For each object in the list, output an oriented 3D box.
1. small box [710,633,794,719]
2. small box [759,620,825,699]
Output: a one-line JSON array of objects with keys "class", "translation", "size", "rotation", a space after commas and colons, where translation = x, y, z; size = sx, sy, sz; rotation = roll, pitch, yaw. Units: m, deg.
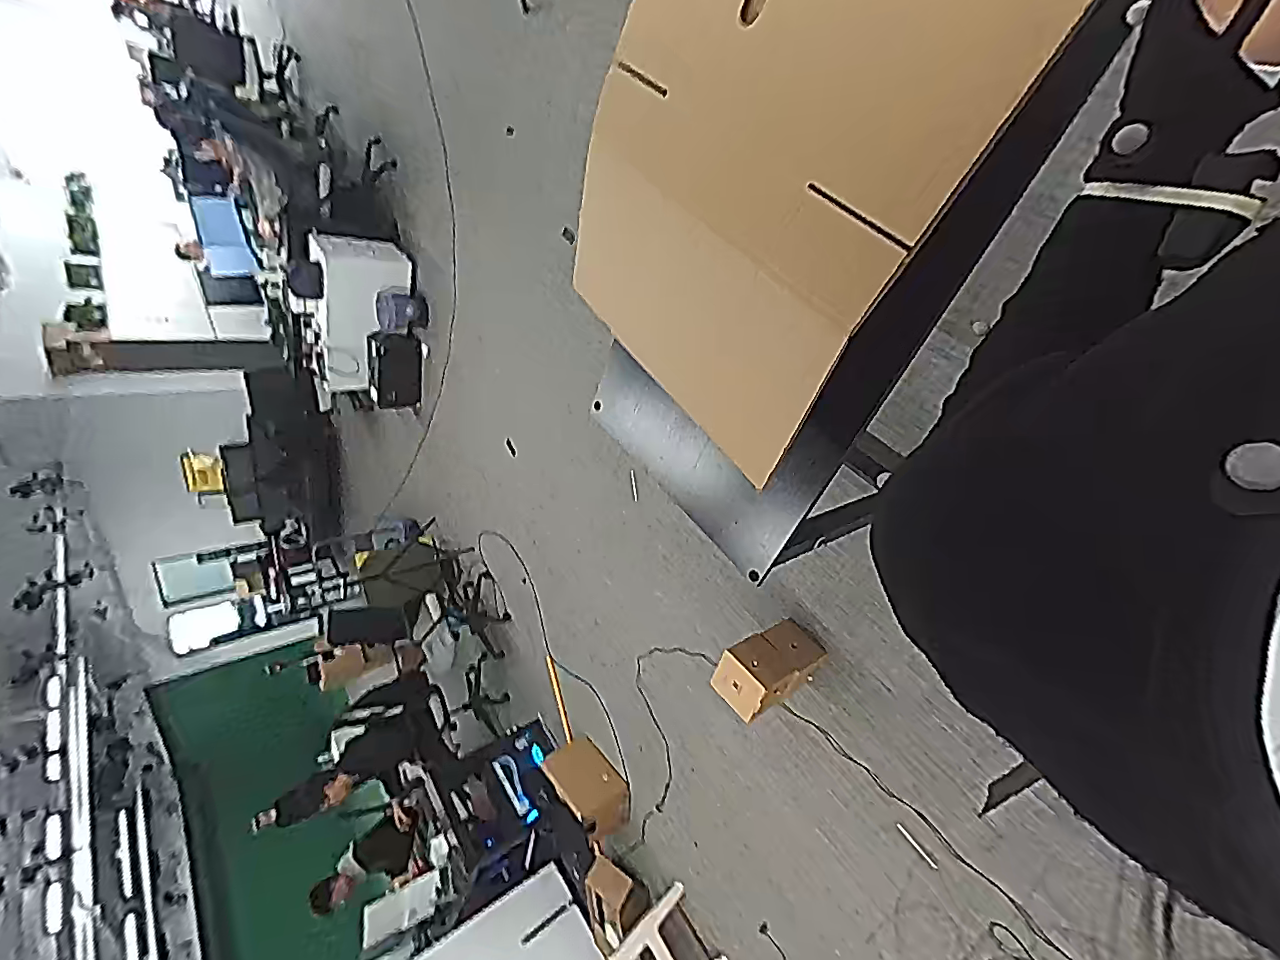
[{"class": "small box", "translation": [0.362, 0.621, 1.740], "size": [0.179, 0.176, 0.168], "rotation": [42, 127, 37]}, {"class": "small box", "translation": [0.488, 0.599, 1.839], "size": [0.179, 0.176, 0.168], "rotation": [44, 130, 34]}]
